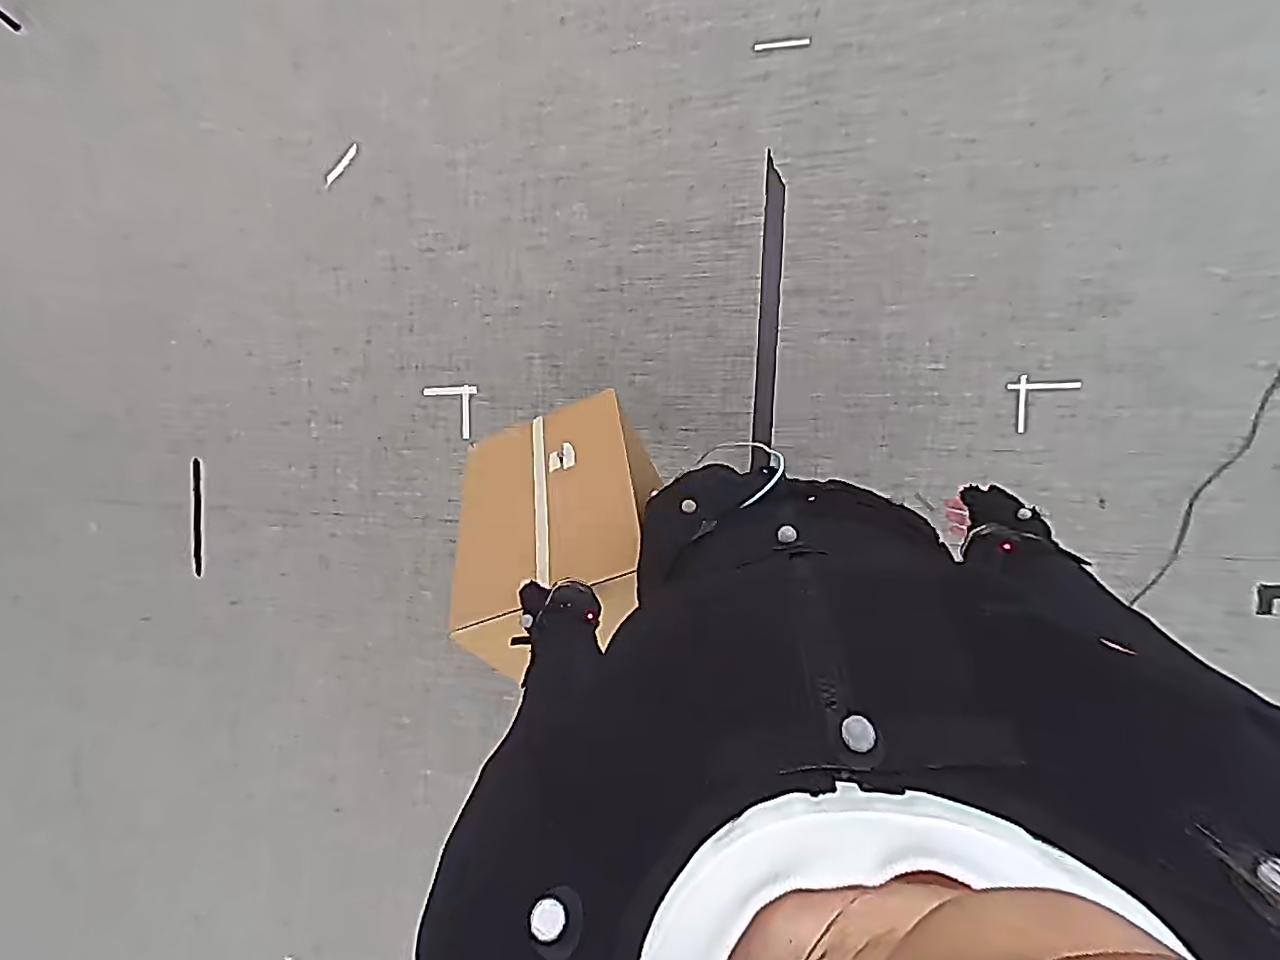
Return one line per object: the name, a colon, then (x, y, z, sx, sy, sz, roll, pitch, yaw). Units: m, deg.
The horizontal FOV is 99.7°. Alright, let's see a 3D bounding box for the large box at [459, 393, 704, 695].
large box: (-0.105, 0.119, 1.006, 0.320, 0.320, 0.408, -19, 46, 8)
